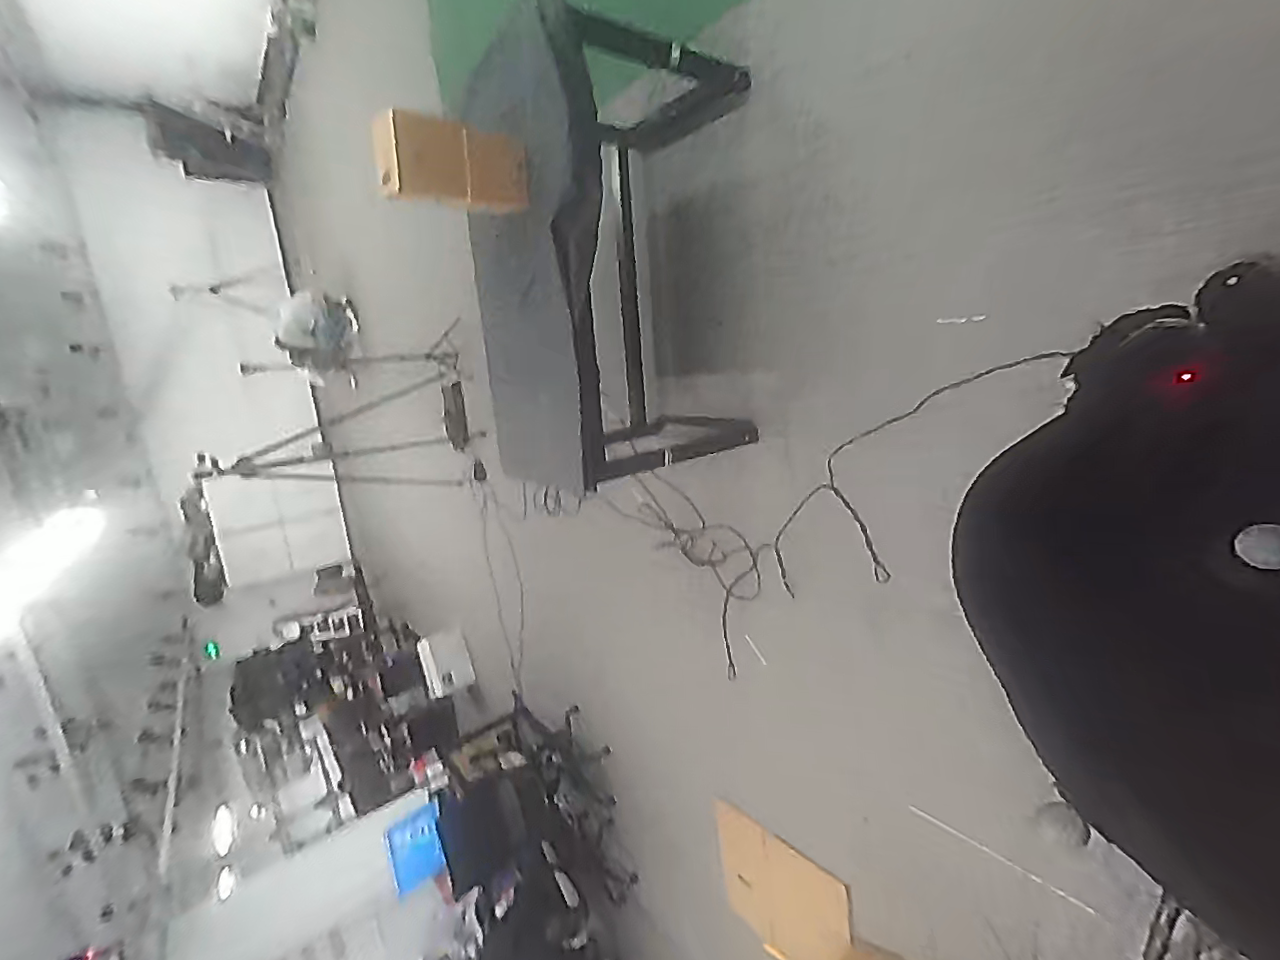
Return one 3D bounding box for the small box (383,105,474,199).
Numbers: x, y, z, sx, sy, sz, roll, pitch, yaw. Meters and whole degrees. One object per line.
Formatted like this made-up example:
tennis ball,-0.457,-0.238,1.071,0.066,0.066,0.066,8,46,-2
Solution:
small box,-0.528,-0.815,1.365,0.168,0.176,0.179,26,121,46
